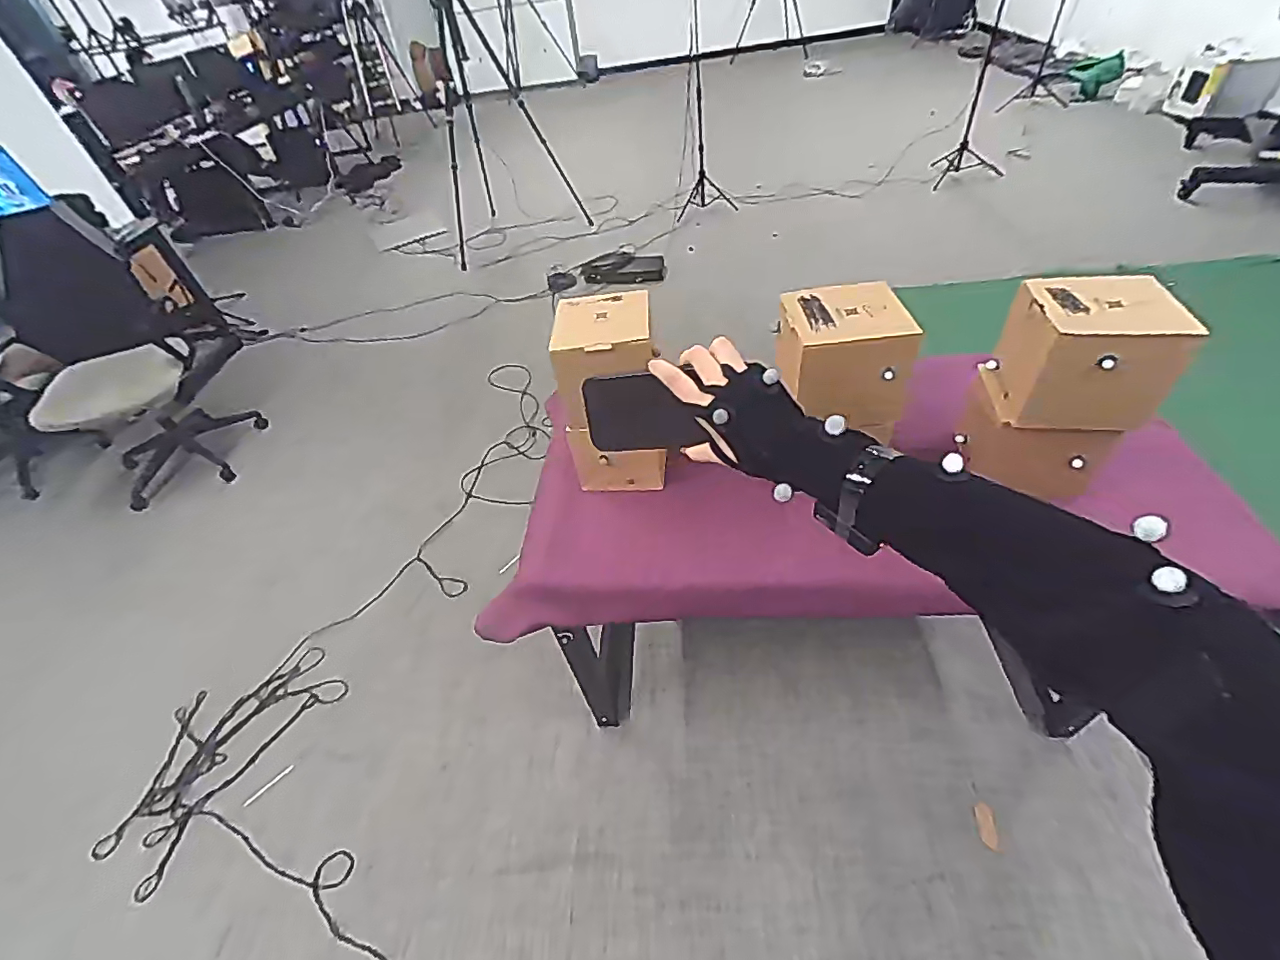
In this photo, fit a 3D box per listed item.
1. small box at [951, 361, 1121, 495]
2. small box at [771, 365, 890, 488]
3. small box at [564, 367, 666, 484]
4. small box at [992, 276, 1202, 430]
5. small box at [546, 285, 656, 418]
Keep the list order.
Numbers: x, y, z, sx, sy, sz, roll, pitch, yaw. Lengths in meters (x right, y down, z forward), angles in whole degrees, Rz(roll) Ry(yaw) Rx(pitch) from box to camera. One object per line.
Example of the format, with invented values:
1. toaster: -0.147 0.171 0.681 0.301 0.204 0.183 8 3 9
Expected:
1. small box: 0.678 -0.090 0.952 0.179 0.176 0.168 4 47 13
2. small box: 0.344 -0.096 1.012 0.179 0.176 0.168 -1 46 9
3. small box: -0.040 -0.105 1.085 0.168 0.176 0.179 0 46 9
4. small box: 0.666 -0.192 0.823 0.179 0.176 0.168 4 47 12
5. small box: -0.059 -0.224 0.973 0.168 0.176 0.179 -4 47 5
